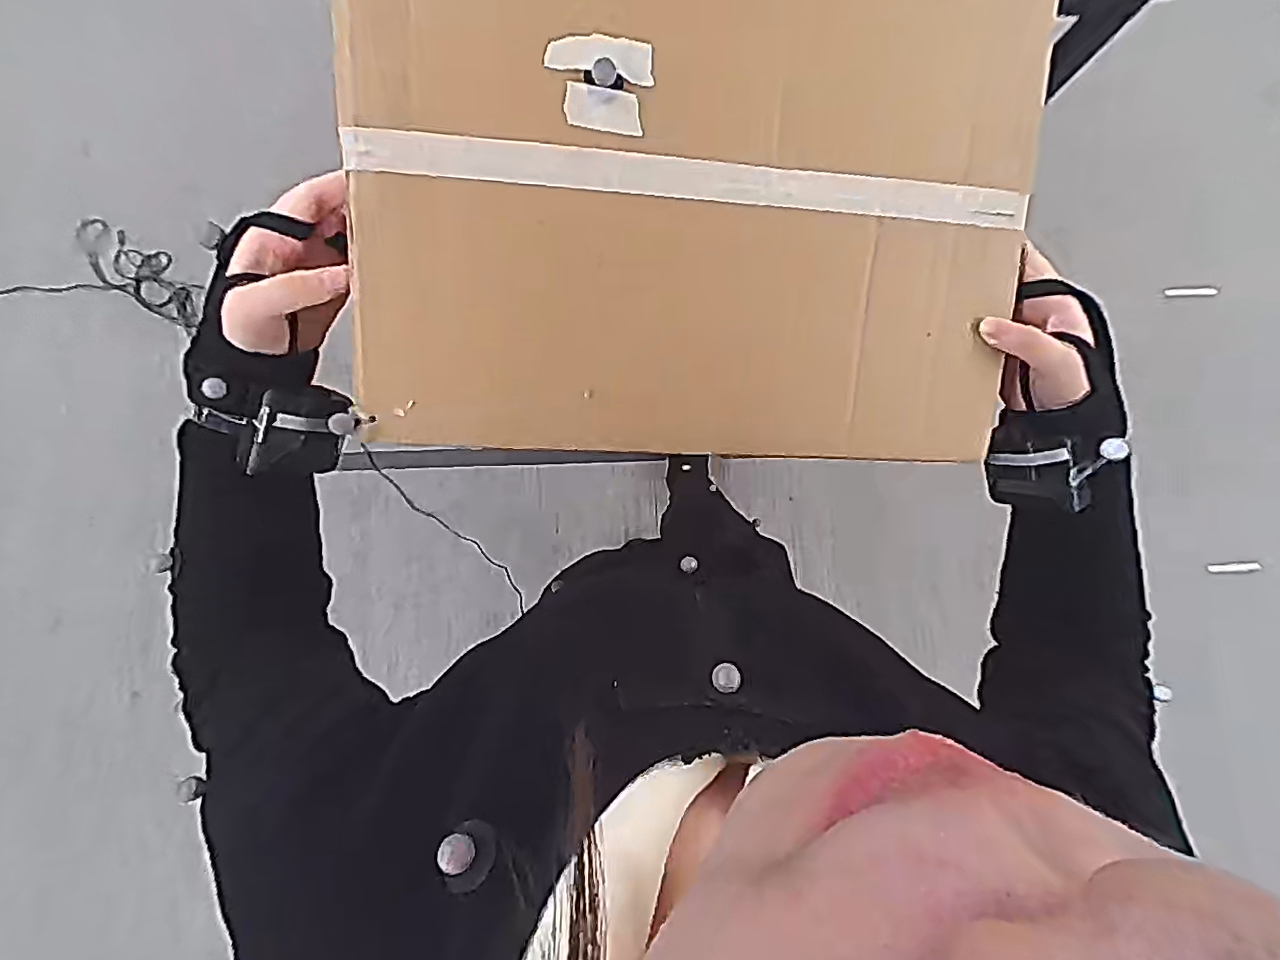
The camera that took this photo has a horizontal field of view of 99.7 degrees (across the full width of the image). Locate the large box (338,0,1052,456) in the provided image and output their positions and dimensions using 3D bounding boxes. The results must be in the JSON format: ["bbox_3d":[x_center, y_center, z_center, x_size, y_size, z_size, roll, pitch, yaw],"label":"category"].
[{"bbox_3d":[0.024,-0.196,0.457,0.408,0.320,0.320,1,99,-7],"label":"large box"}]
